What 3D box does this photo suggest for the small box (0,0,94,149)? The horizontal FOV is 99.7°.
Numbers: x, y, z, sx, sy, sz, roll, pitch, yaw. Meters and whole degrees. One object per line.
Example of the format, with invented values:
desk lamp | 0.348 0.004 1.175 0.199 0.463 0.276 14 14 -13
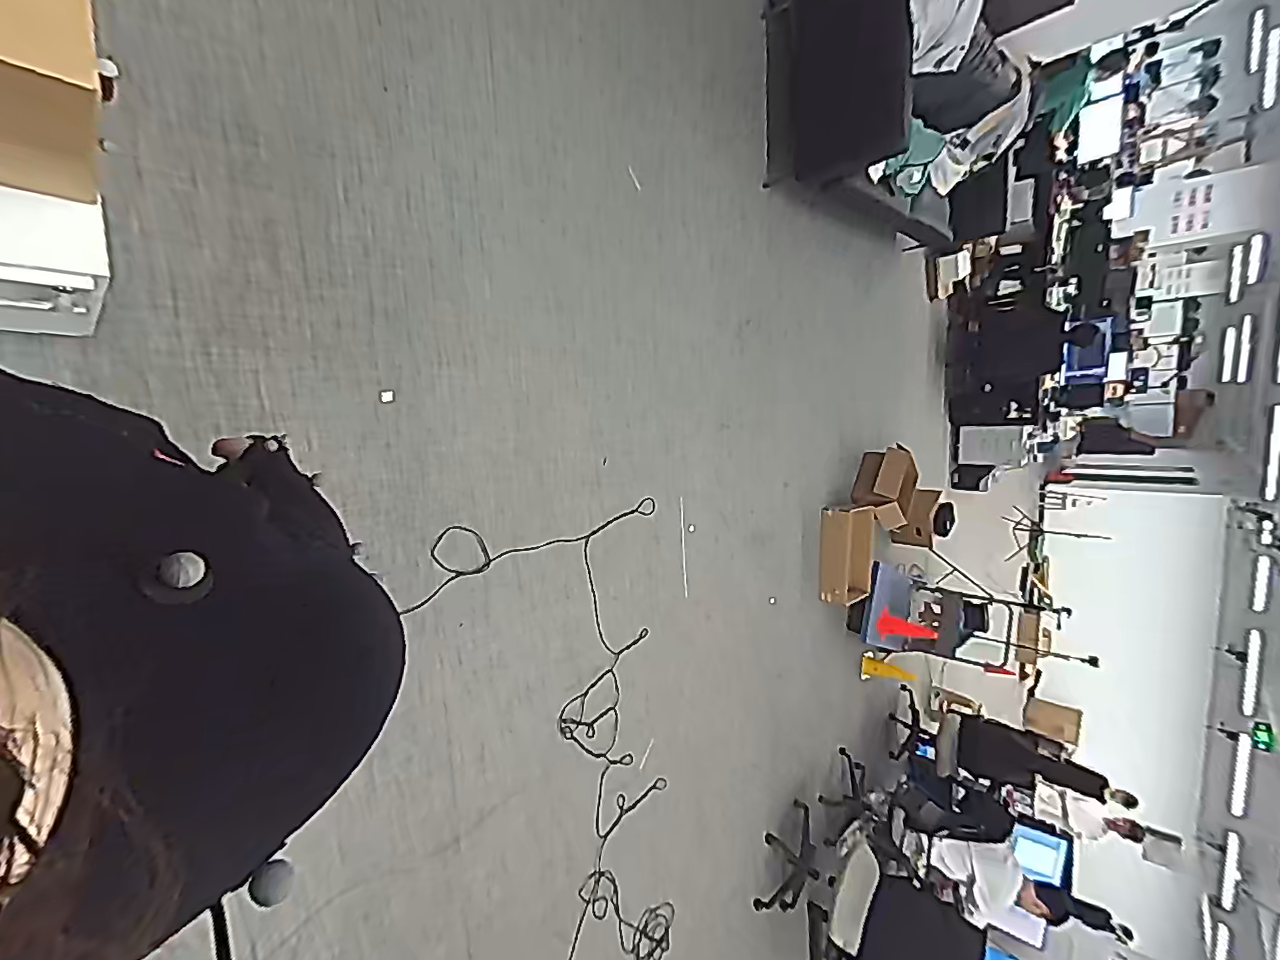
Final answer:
small box | -0.545 -0.389 0.412 0.179 0.176 0.168 -4 97 -46
